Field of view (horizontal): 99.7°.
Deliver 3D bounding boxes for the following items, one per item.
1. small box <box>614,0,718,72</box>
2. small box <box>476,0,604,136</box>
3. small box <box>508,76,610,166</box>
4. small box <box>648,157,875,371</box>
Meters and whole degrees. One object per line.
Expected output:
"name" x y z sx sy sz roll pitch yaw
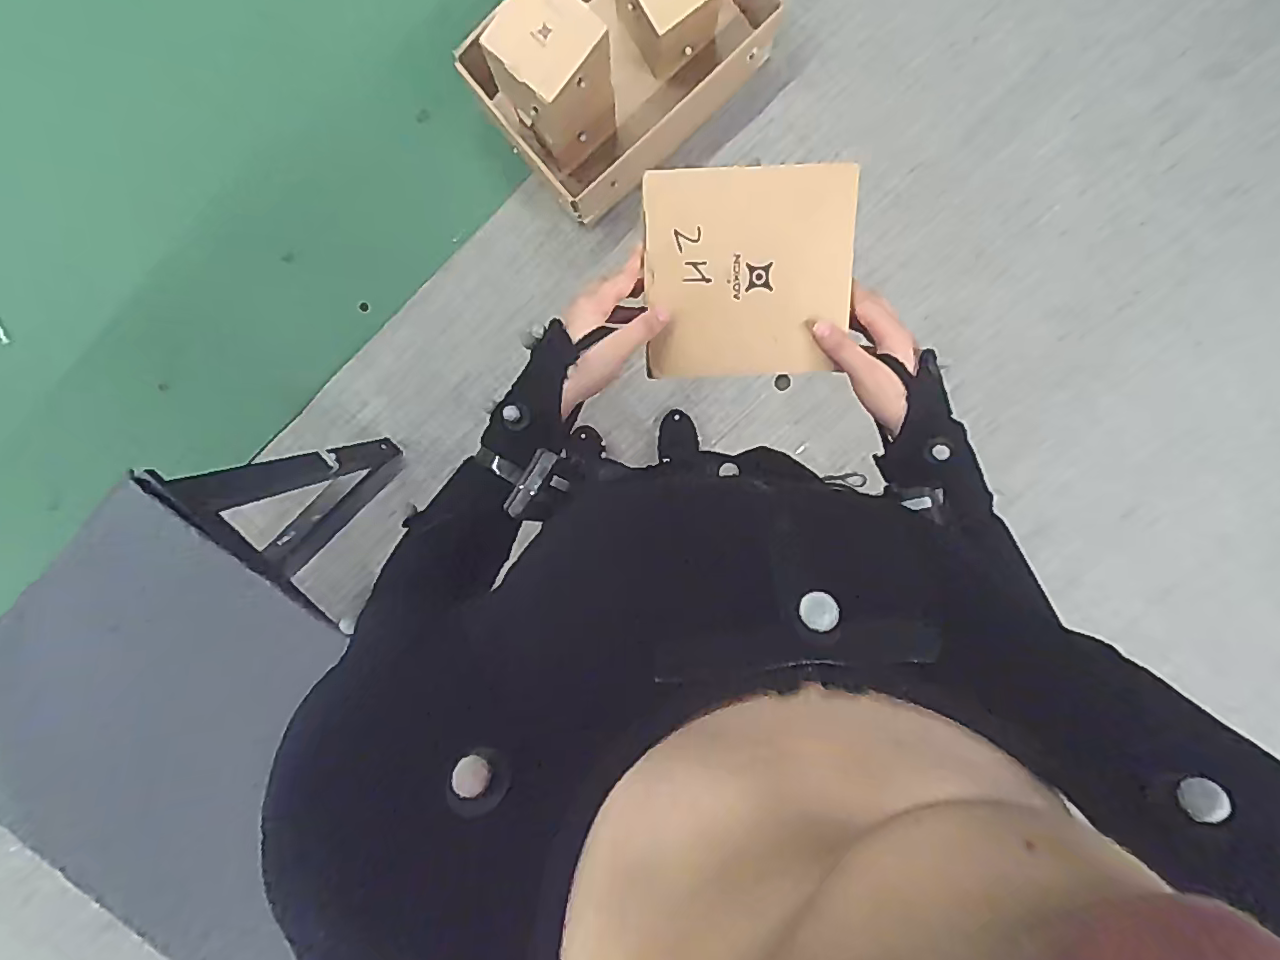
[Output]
"small box" 0.051 -1.050 1.170 0.168 0.176 0.179 -34 100 5
"small box" -0.180 -0.815 1.039 0.168 0.176 0.179 39 95 -8
"small box" -0.181 -0.846 1.201 0.179 0.176 0.168 -39 99 6
"small box" 0.100 -0.196 0.522 0.179 0.176 0.168 -2 105 0
